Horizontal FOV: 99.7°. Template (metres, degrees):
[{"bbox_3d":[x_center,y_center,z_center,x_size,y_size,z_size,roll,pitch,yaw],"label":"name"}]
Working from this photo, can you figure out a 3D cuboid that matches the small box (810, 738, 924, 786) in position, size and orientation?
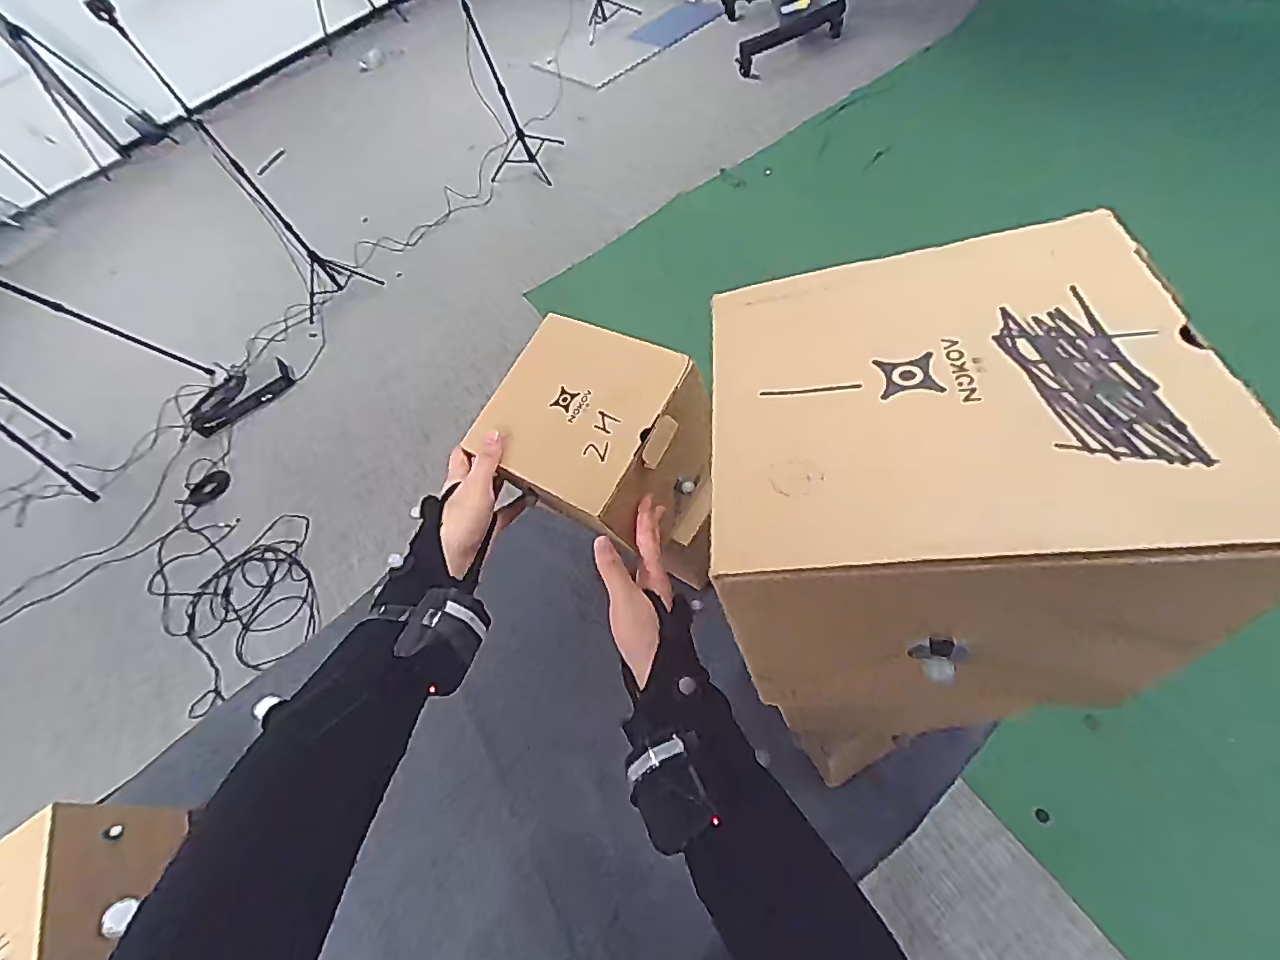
[{"bbox_3d":[0.215,0.177,0.543,0.179,0.176,0.168,-31,50,-2],"label":"small box"}]

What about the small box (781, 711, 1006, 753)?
[{"bbox_3d":[0.177,0.093,0.408,0.179,0.176,0.168,-14,51,10],"label":"small box"}]

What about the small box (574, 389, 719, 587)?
[{"bbox_3d":[0.048,0.016,0.709,0.179,0.176,0.168,28,72,25],"label":"small box"}]

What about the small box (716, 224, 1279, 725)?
[{"bbox_3d":[0.139,0.013,0.266,0.179,0.176,0.168,-6,52,17],"label":"small box"}]
